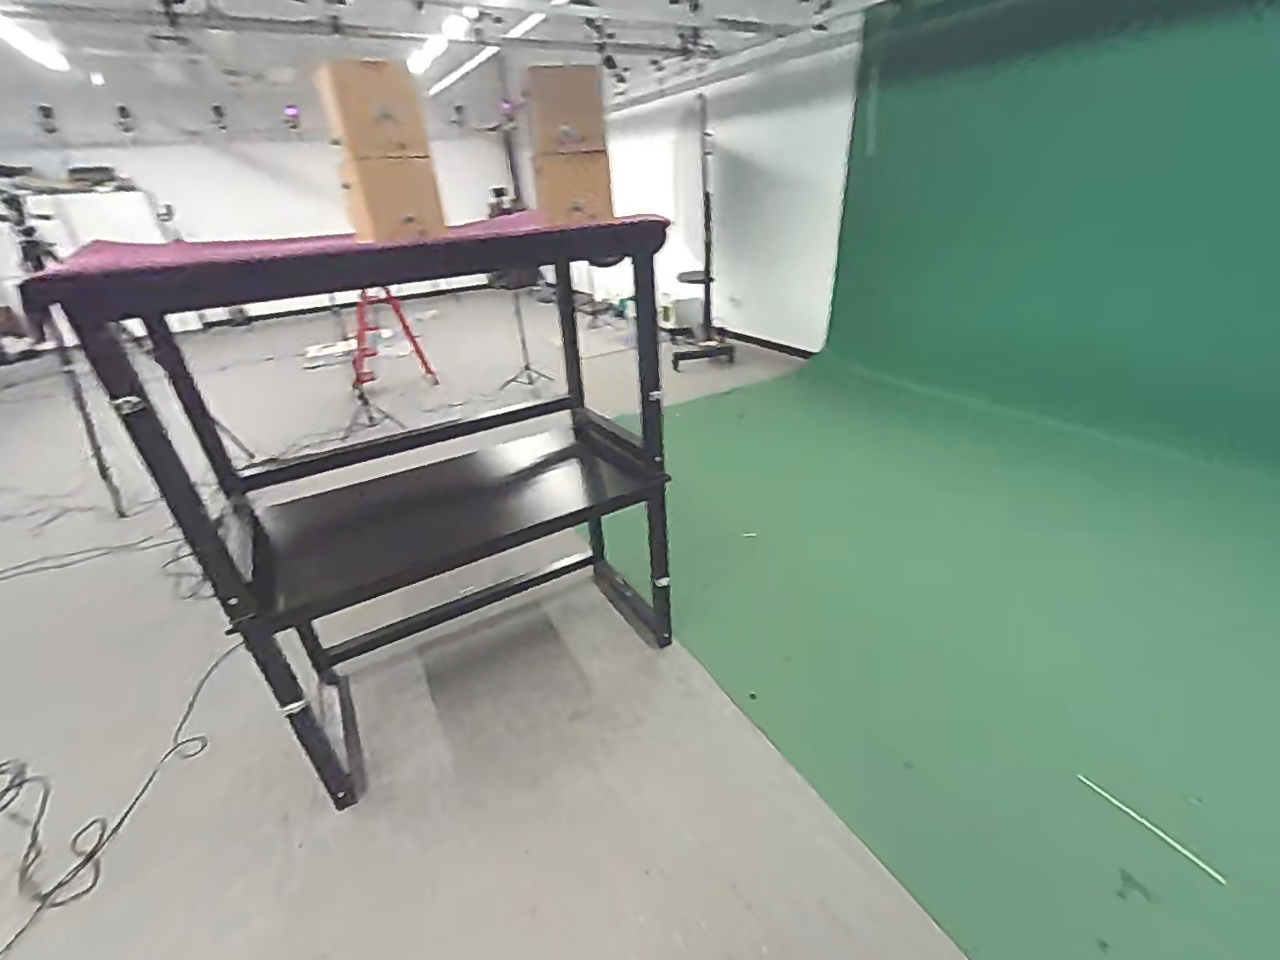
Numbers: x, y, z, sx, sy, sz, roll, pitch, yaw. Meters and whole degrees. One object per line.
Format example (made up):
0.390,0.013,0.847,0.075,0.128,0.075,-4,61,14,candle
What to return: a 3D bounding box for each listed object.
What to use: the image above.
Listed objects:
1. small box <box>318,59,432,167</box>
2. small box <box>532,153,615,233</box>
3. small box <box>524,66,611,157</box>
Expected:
-0.558,-0.768,1.145,0.168,0.176,0.179,-19,32,-27,small box
-0.167,-0.718,1.358,0.168,0.176,0.179,-13,31,-17,small box
-0.172,-0.857,1.273,0.168,0.176,0.179,-12,32,-13,small box
